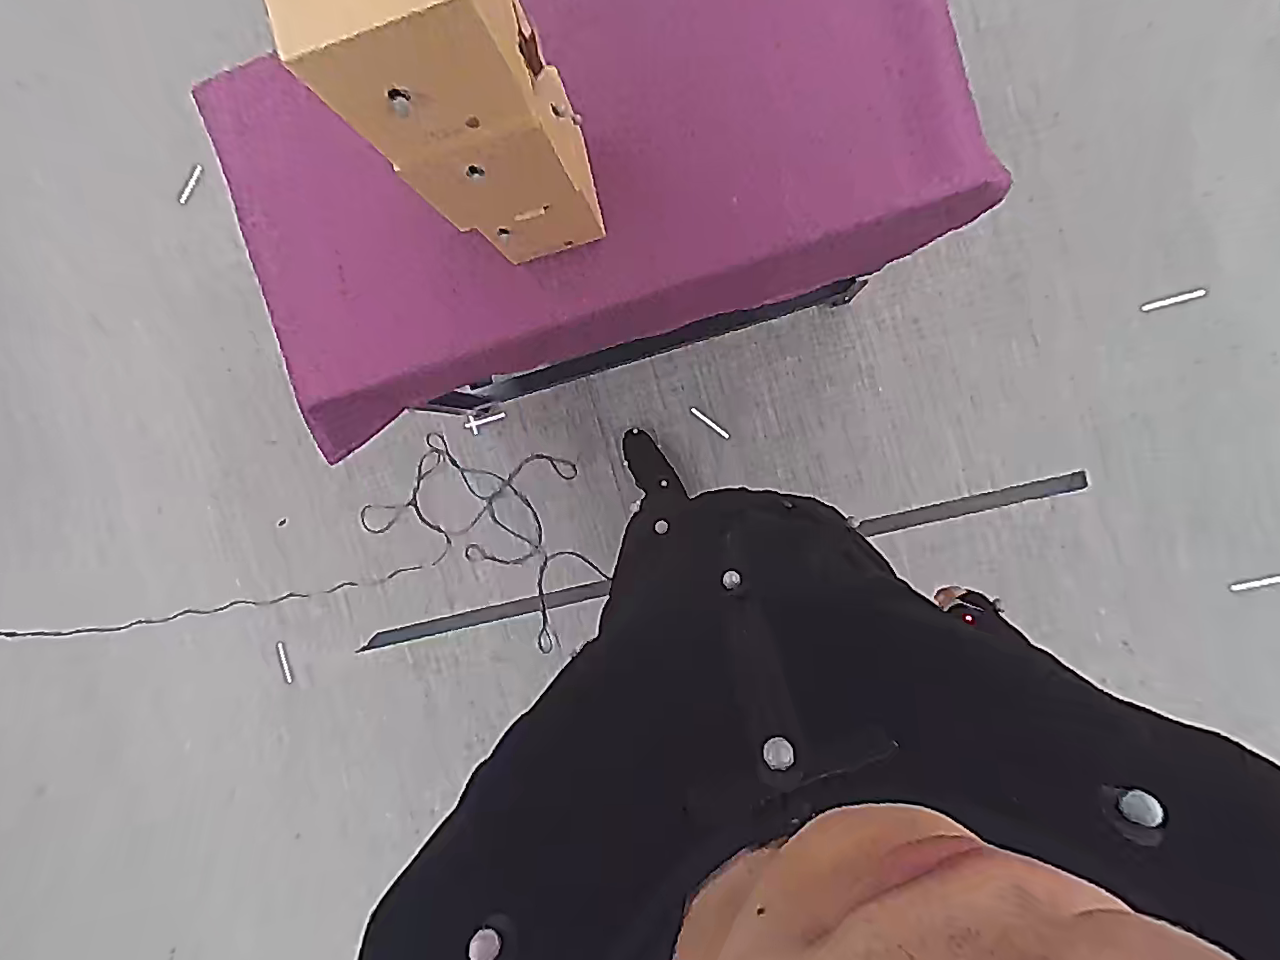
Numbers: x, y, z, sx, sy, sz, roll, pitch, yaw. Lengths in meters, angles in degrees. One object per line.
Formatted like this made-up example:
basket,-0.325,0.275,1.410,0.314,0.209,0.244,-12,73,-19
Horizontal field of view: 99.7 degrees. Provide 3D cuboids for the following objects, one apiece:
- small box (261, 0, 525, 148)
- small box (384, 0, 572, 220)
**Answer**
small box,-0.222,-0.444,0.499,0.168,0.176,0.179,-13,91,8
small box,-0.200,-0.447,0.661,0.179,0.176,0.168,-13,92,7
